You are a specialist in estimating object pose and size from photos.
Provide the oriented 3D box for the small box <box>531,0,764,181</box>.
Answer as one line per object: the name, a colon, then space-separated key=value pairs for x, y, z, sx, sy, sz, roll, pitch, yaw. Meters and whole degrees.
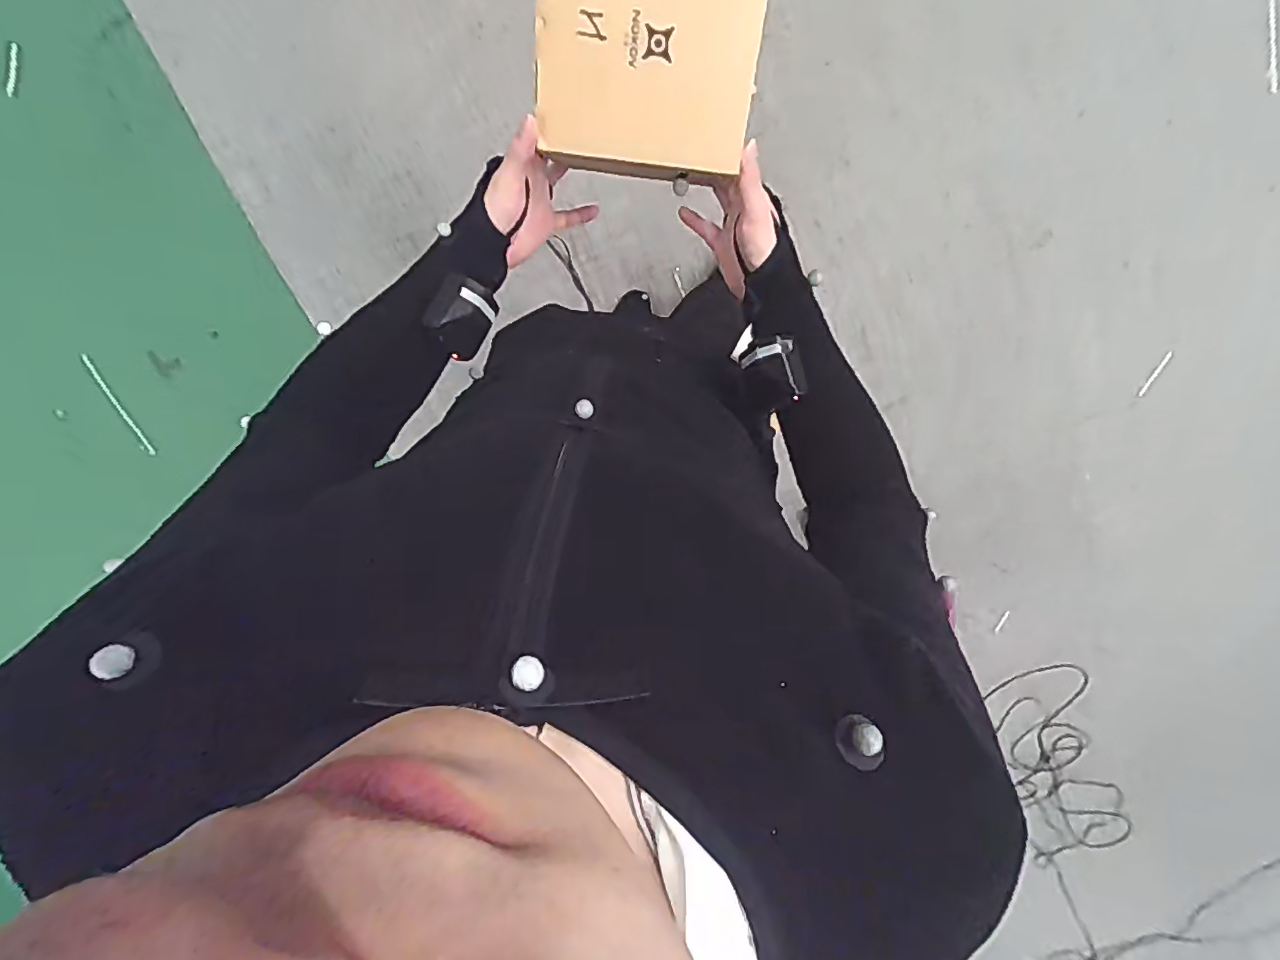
small box: x=0.004 y=-0.377 z=0.492 sx=0.179 sy=0.176 sz=0.168 roll=6 pitch=115 yaw=-2
